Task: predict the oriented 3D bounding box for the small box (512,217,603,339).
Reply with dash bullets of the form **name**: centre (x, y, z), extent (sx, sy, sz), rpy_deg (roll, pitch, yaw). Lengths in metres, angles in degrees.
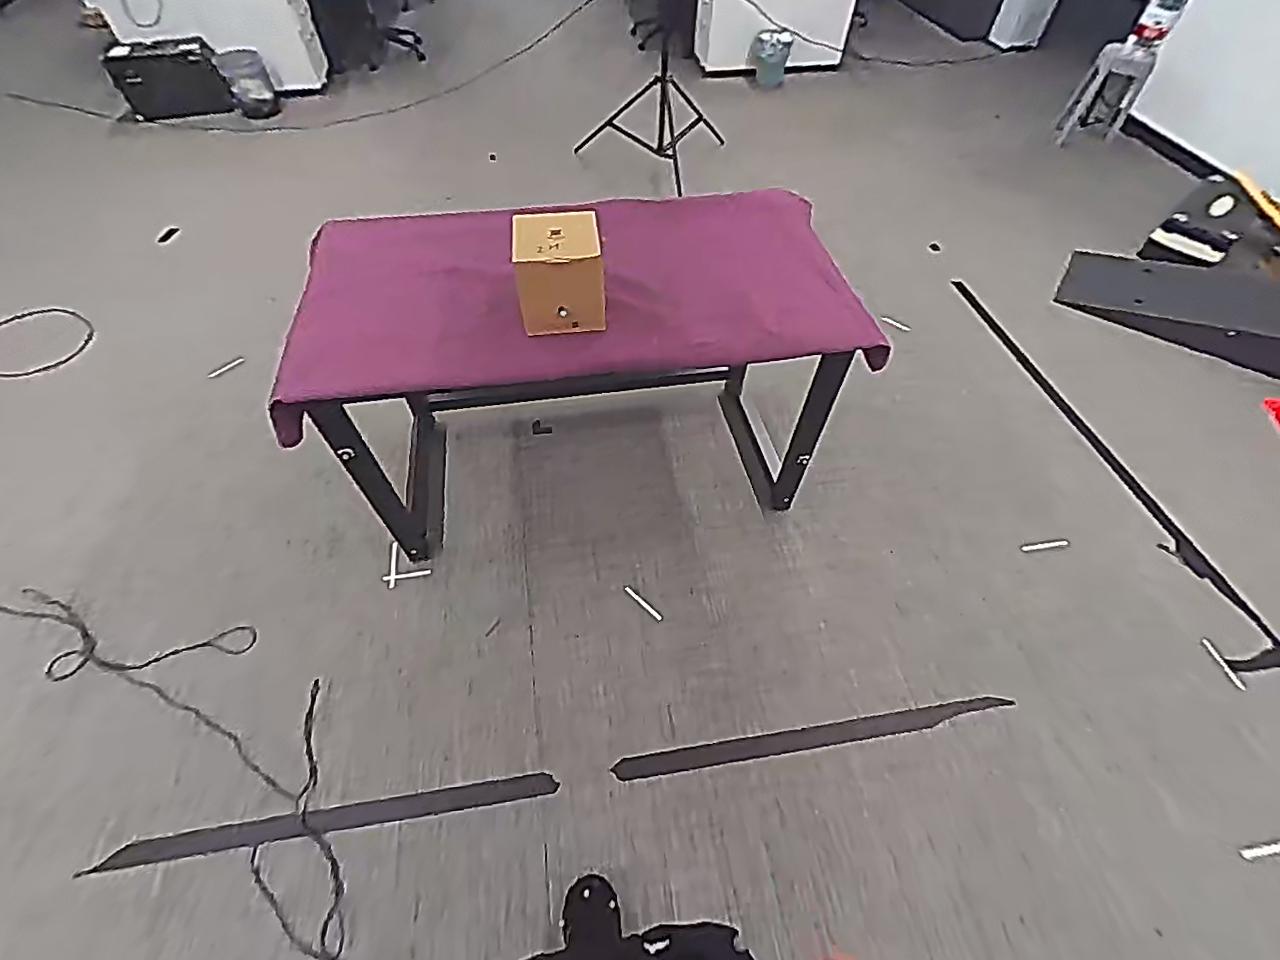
- **small box**: centre (-0.167, -0.415, 1.113), extent (0.168, 0.176, 0.179), rpy_deg (-6, 53, -5)
